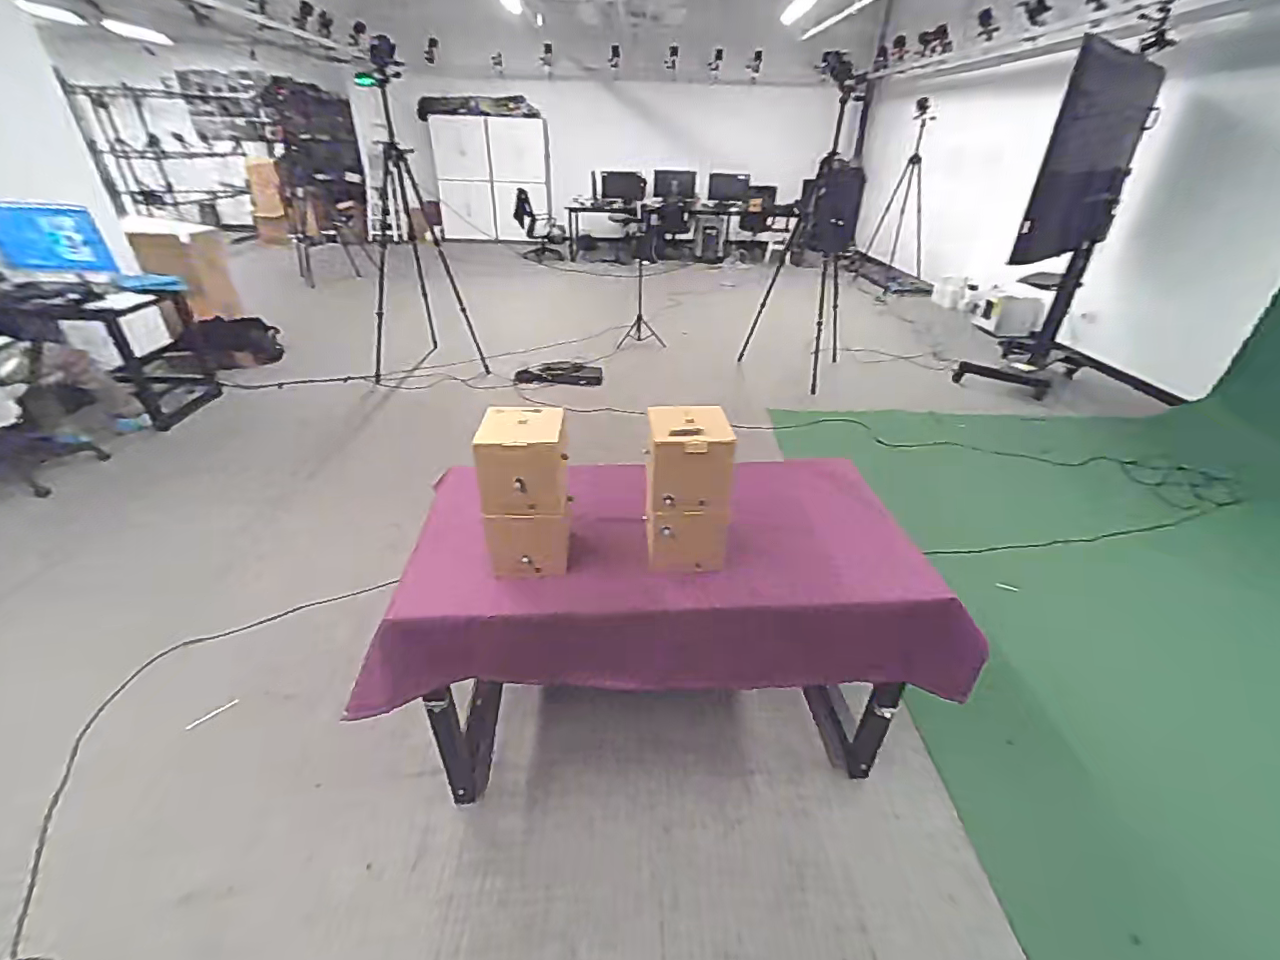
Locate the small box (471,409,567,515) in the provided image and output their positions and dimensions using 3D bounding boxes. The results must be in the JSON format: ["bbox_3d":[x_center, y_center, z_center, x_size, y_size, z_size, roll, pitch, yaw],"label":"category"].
[{"bbox_3d":[-0.246,-0.038,1.145,0.168,0.176,0.179,0,32,-3],"label":"small box"}]

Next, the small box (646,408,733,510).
[{"bbox_3d":[0.100,-0.045,1.171,0.168,0.176,0.179,-1,30,-4],"label":"small box"}]

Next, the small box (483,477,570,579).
[{"bbox_3d":[-0.249,0.105,1.228,0.168,0.176,0.179,-1,31,-3],"label":"small box"}]
